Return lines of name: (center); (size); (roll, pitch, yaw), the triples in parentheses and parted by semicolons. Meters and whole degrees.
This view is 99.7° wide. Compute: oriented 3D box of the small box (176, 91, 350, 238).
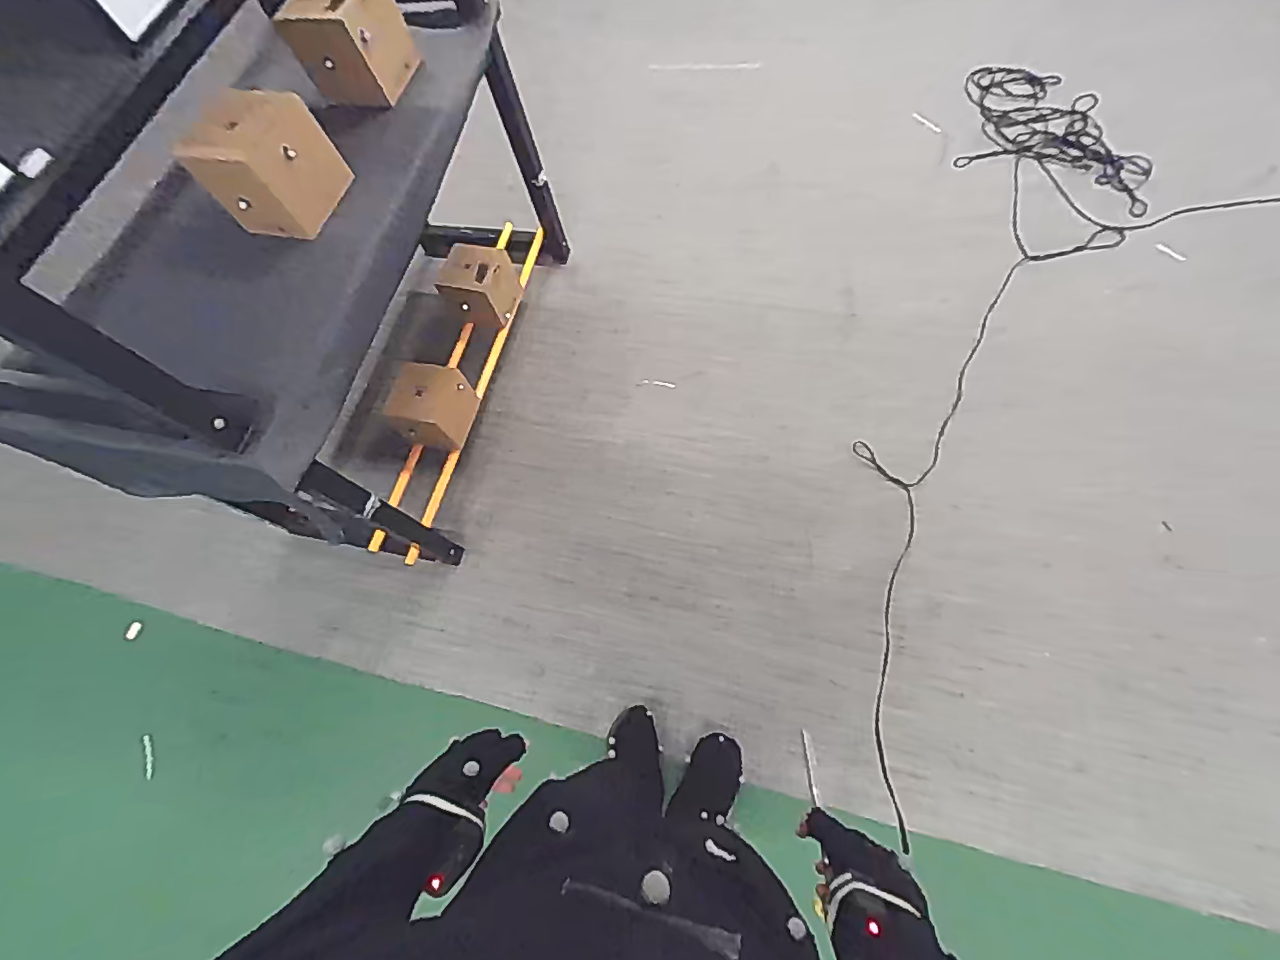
small box: (-0.683, -0.580, 1.004); (0.168, 0.176, 0.179); (12, 70, 13)

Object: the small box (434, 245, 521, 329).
small box: (-0.489, -0.589, 1.663); (0.179, 0.176, 0.168); (12, 69, 13)
